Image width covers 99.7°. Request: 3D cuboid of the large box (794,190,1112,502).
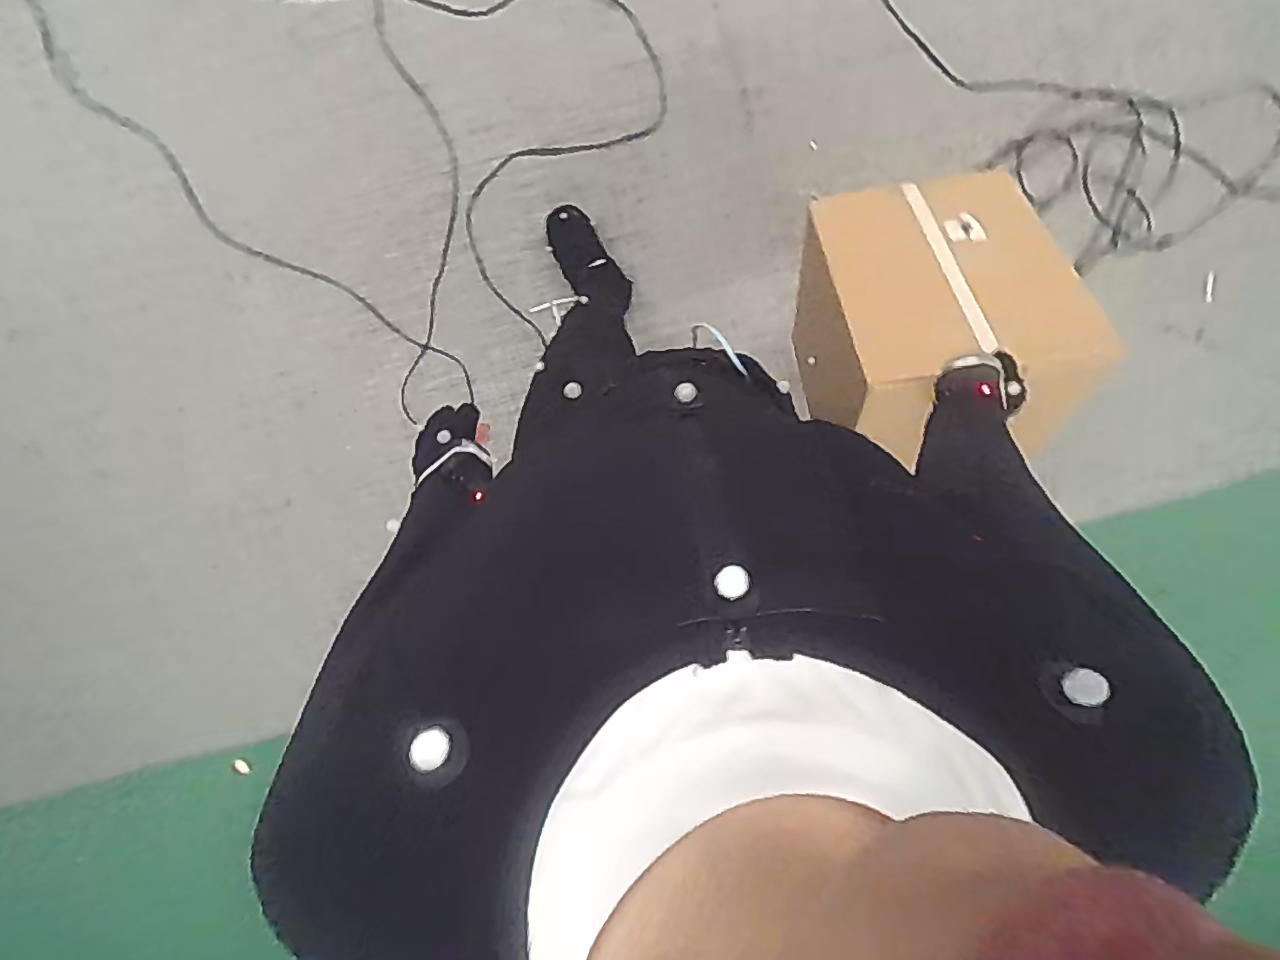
[{"bbox_3d":[0.466,-0.219,0.928,0.320,0.408,0.320,-5,147,5],"label":"large box"}]
